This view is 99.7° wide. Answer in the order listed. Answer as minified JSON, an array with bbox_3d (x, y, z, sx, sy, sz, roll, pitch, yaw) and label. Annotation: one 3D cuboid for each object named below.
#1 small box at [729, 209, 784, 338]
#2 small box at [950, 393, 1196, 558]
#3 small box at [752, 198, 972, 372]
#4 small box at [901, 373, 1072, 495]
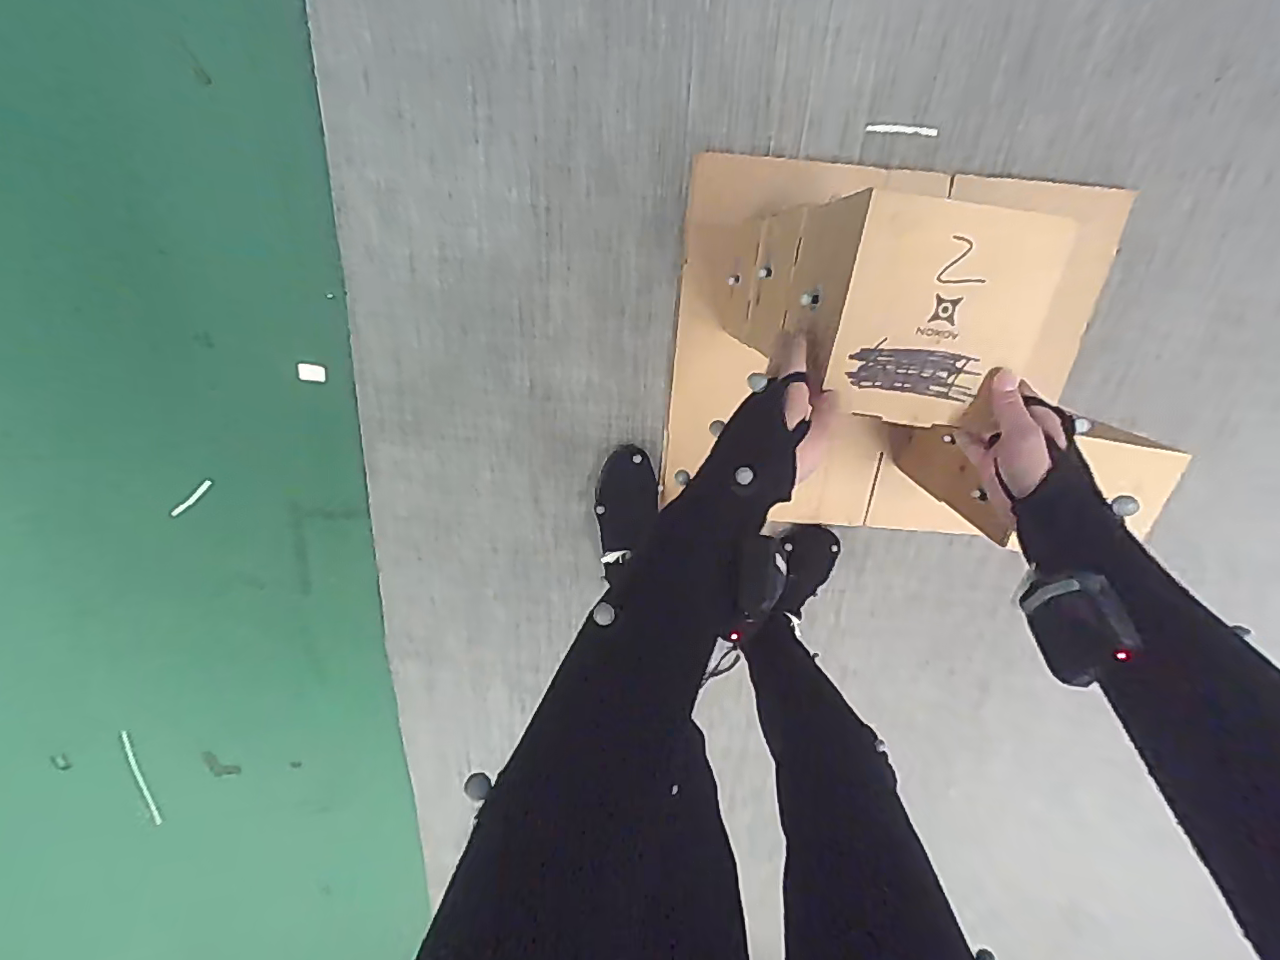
[{"bbox_3d":[0.242,-0.300,0.805,0.179,0.176,0.168,5,112,-2],"label":"small box"},{"bbox_3d":[0.575,-0.015,0.751,0.179,0.176,0.168,9,113,-3],"label":"small box"},{"bbox_3d":[0.249,-0.237,0.656,0.179,0.176,0.168,5,113,-2],"label":"small box"},{"bbox_3d":[0.576,-0.076,0.903,0.179,0.176,0.168,6,112,-3],"label":"small box"}]
